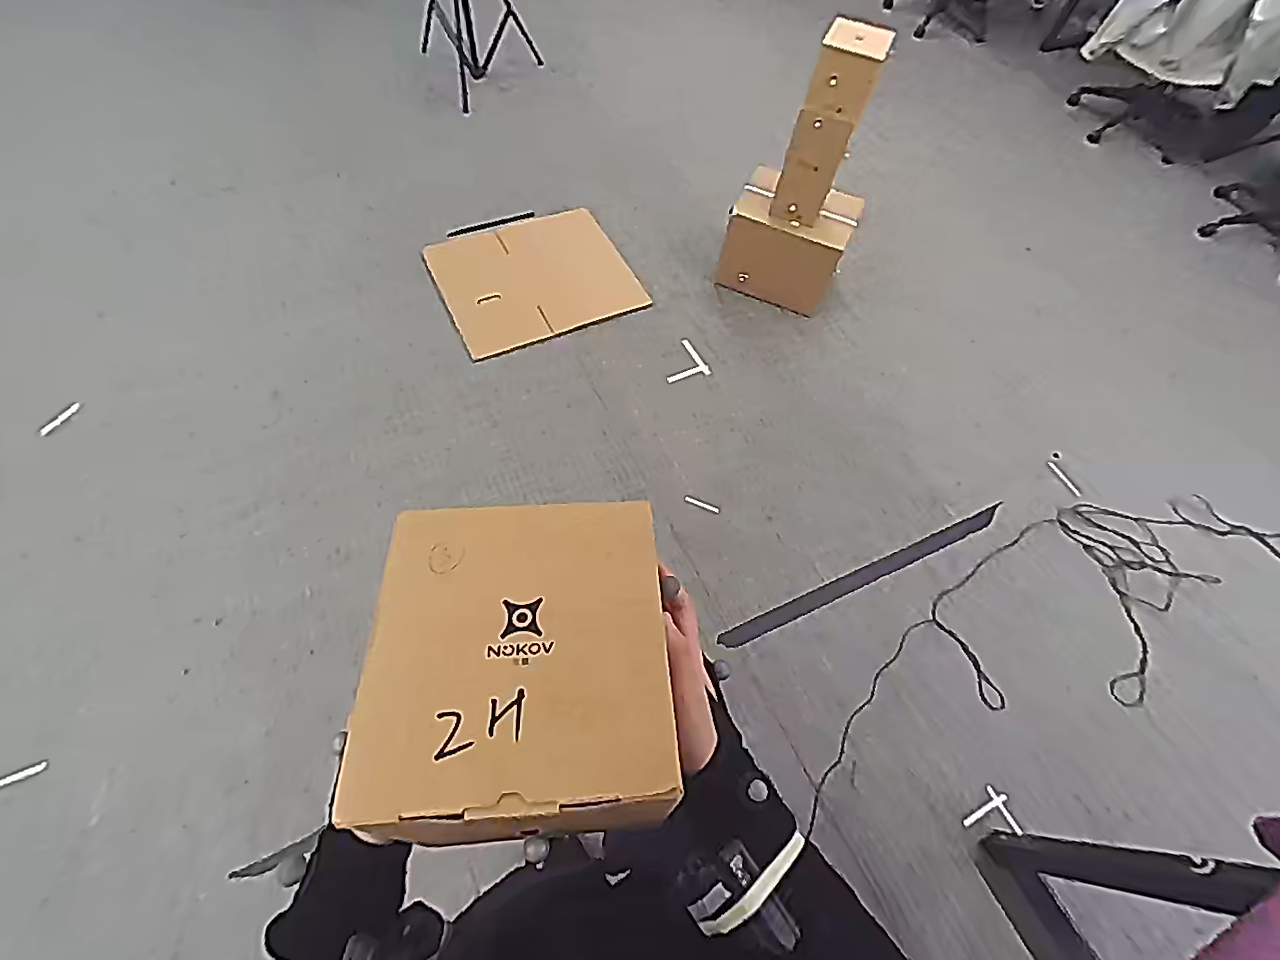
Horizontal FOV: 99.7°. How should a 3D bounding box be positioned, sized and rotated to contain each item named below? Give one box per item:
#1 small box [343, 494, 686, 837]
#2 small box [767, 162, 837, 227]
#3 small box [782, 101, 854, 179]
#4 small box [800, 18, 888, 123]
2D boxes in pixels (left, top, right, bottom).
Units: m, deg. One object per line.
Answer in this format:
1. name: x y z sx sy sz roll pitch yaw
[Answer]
1. small box: -0.067 0.129 0.371 0.168 0.176 0.179 -3 54 -4
2. small box: 0.540 -0.989 1.806 0.168 0.176 0.179 22 63 8
3. small box: 0.553 -1.071 1.664 0.168 0.176 0.179 22 61 8
4. small box: 0.567 -1.145 1.520 0.168 0.176 0.179 22 62 8
